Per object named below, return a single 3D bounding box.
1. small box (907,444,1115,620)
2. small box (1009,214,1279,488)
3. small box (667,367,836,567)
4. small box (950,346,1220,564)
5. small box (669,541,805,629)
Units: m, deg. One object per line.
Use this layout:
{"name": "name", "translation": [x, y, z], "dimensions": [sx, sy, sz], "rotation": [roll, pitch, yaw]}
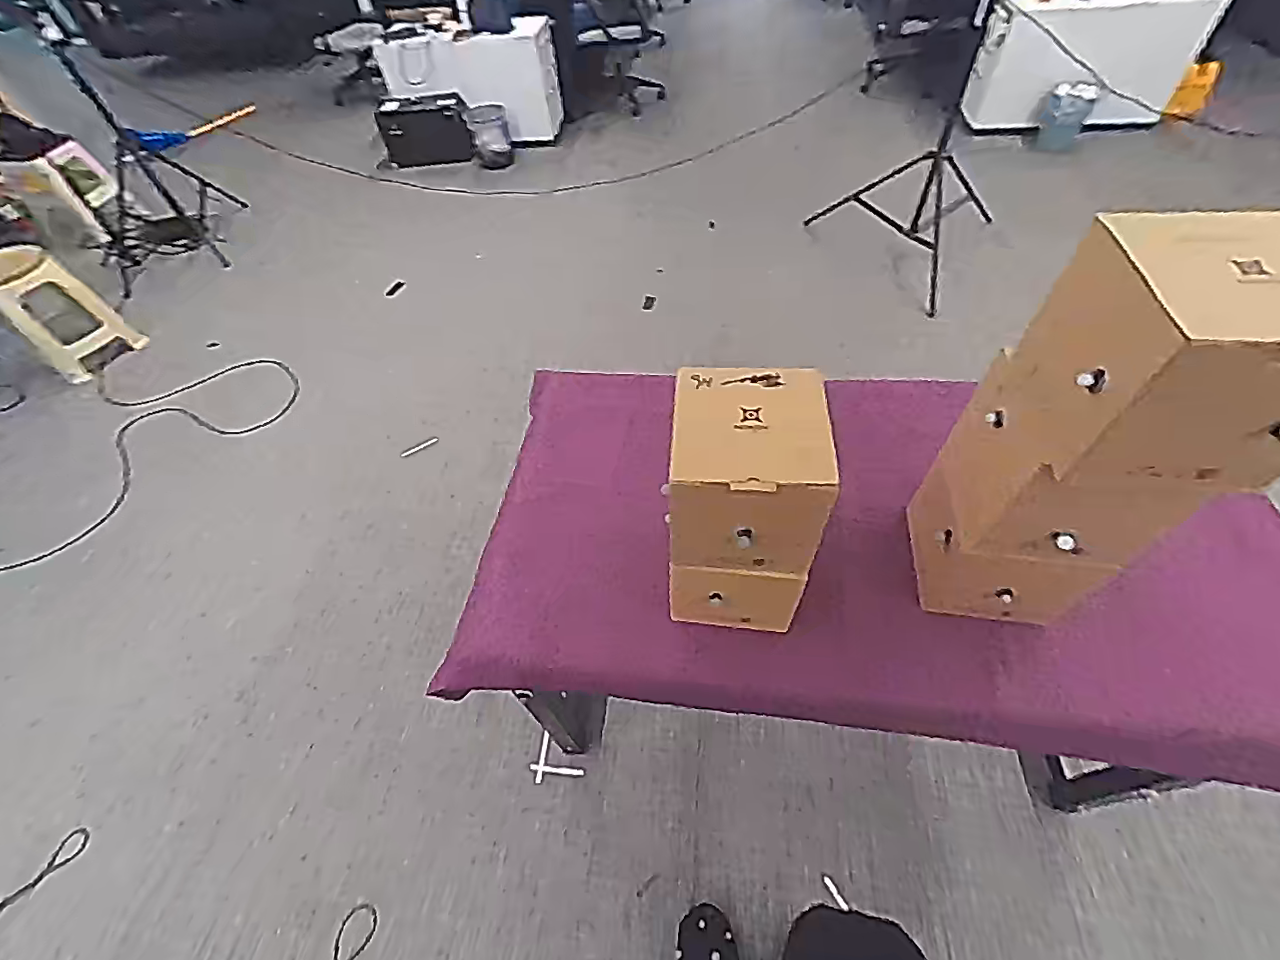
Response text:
{"name": "small box", "translation": [0.488, 0.075, 0.745], "dimensions": [0.168, 0.176, 0.179], "rotation": [6, 53, 9]}
{"name": "small box", "translation": [0.469, -0.109, 0.476], "dimensions": [0.168, 0.176, 0.179], "rotation": [3, 52, 6]}
{"name": "small box", "translation": [0.122, -0.012, 0.637], "dimensions": [0.168, 0.176, 0.179], "rotation": [2, 52, 6]}
{"name": "small box", "translation": [0.481, -0.028, 0.617], "dimensions": [0.168, 0.176, 0.179], "rotation": [5, 54, 9]}
{"name": "small box", "translation": [0.133, 0.094, 0.761], "dimensions": [0.168, 0.176, 0.179], "rotation": [4, 52, 8]}
